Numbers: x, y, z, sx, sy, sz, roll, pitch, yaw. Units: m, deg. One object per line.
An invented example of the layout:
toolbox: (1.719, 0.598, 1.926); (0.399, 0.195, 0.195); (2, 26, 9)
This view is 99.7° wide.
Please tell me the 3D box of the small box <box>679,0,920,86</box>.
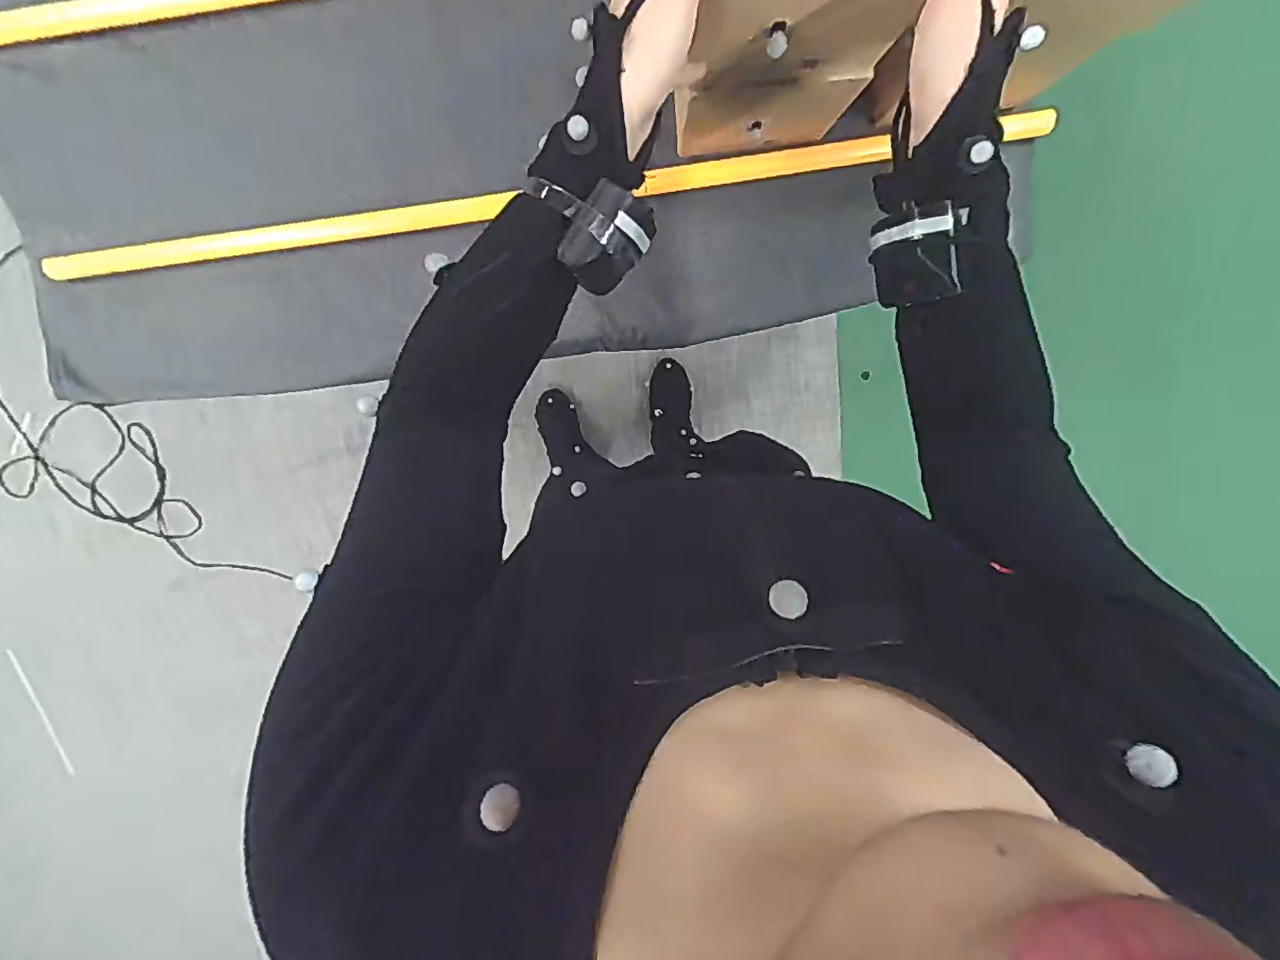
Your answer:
small box: (0.113, -0.407, 0.377); (0.168, 0.176, 0.179); (-5, 105, 3)
